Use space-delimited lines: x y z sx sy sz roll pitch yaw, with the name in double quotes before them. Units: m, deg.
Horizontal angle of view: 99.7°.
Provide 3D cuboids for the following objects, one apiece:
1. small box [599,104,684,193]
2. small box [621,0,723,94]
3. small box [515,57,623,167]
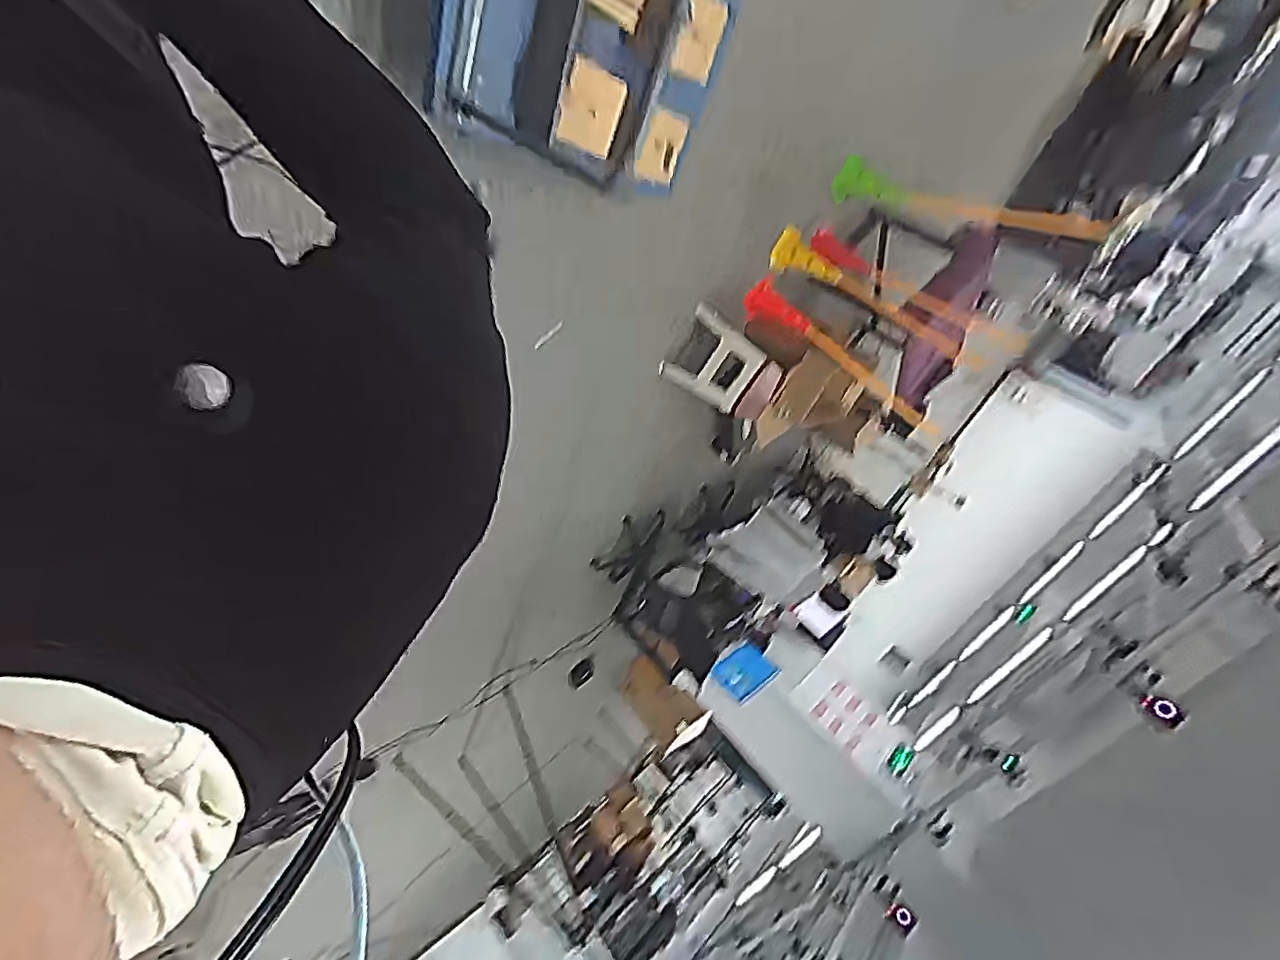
"small box" -0.011 -0.951 1.547 0.179 0.176 0.168 -13 135 -46
"small box" 0.078 -1.154 1.419 0.179 0.176 0.168 -15 138 -45
"small box" -0.180 -0.923 1.356 0.179 0.176 0.168 -10 133 -47
